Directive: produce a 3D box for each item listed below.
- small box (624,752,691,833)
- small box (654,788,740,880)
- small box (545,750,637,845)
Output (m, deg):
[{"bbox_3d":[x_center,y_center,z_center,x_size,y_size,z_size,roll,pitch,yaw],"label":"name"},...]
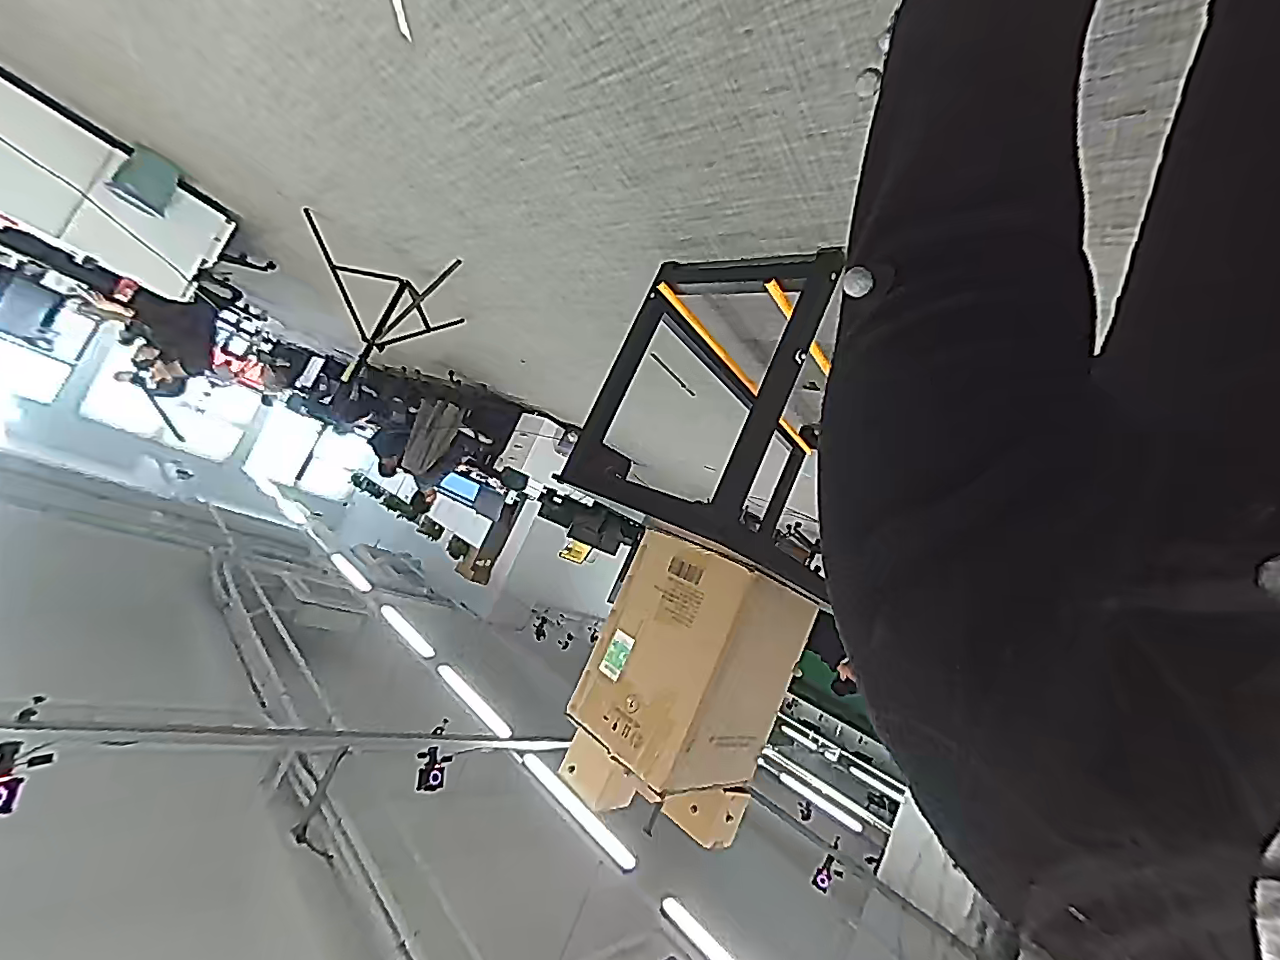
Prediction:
[{"bbox_3d":[0.039,1.011,1.768,0.168,0.176,0.179,19,170,42],"label":"small box"},{"bbox_3d":[0.179,1.055,1.624,0.179,0.176,0.168,12,164,46],"label":"small box"},{"bbox_3d":[-0.137,0.908,1.566,0.179,0.176,0.168,20,174,44],"label":"small box"}]
